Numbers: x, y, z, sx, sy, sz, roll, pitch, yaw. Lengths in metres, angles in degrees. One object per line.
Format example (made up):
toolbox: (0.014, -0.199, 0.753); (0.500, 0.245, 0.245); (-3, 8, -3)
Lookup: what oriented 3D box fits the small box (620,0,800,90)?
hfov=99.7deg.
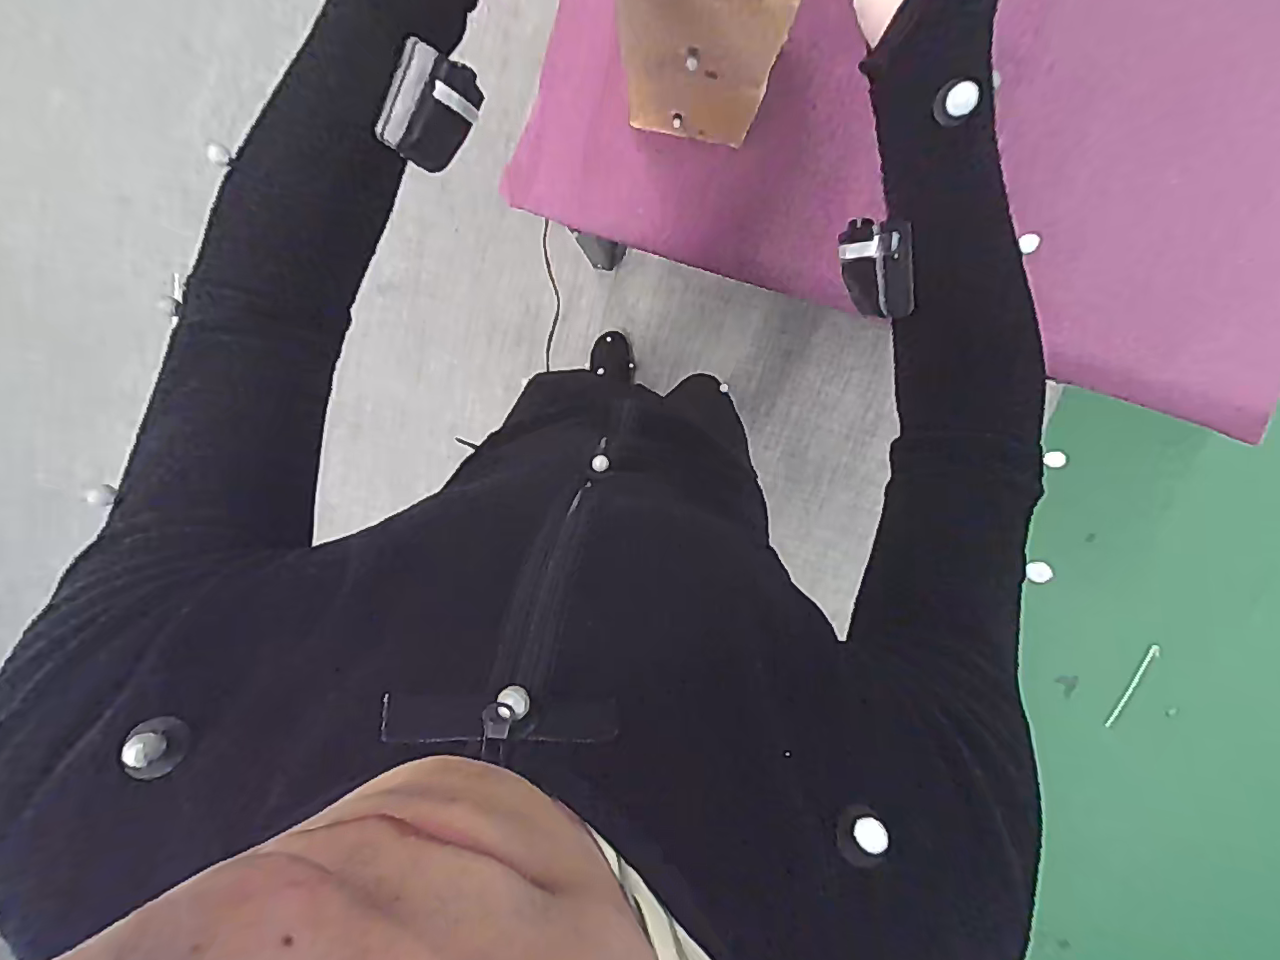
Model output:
small box: (0.072, -0.522, 0.517); (0.168, 0.176, 0.179); (10, 103, -1)

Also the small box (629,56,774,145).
small box: (0.081, -0.559, 0.677); (0.168, 0.176, 0.179); (10, 104, -2)
